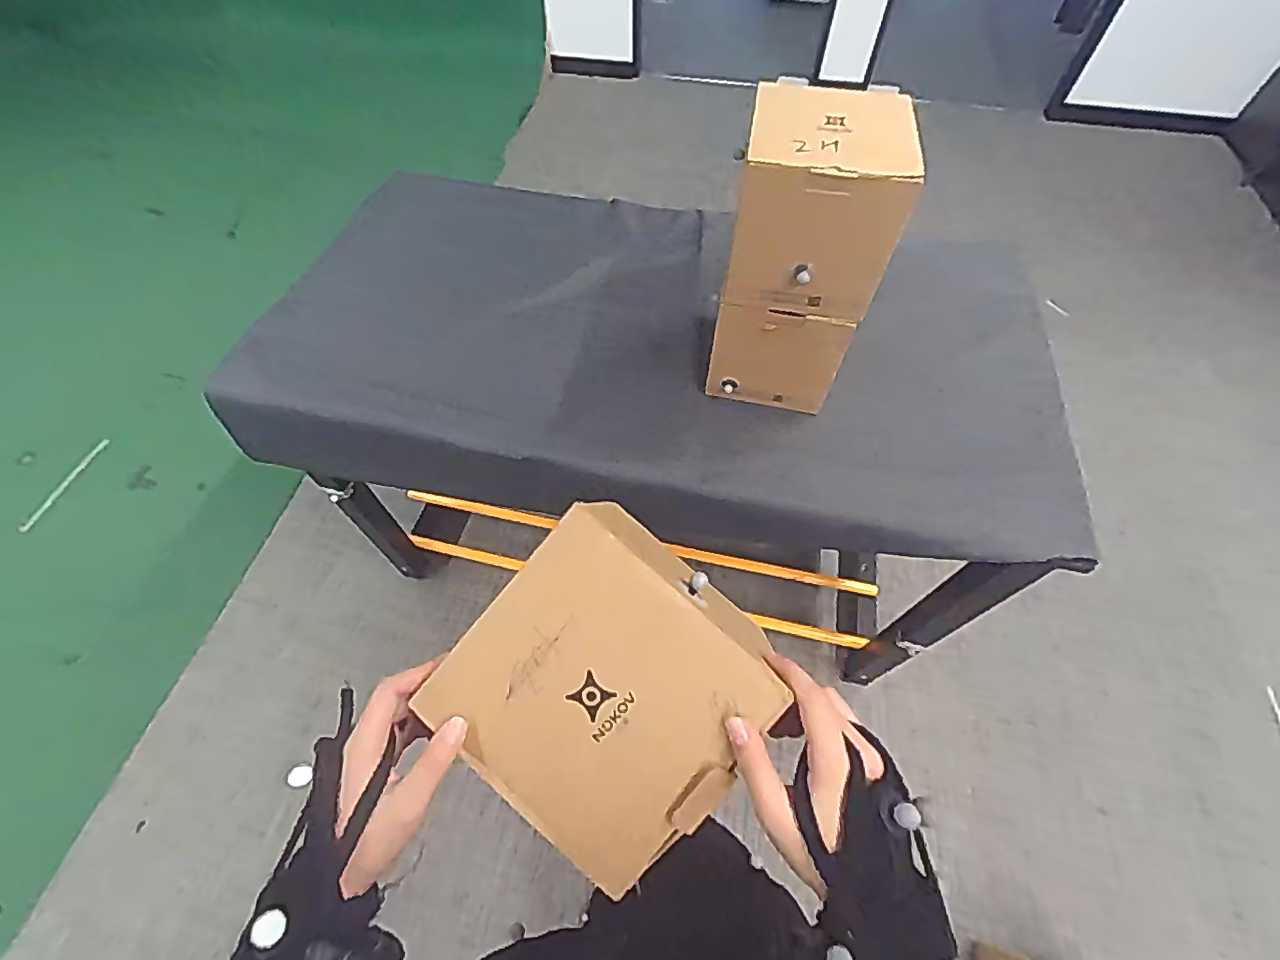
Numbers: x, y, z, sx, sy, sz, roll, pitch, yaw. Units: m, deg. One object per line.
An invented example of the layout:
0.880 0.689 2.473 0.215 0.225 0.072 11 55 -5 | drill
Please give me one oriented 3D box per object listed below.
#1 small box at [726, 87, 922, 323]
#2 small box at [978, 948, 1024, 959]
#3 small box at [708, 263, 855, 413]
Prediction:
0.196 -0.310 0.618 0.168 0.176 0.179 9 58 6 | small box
0.686 0.919 0.889 0.168 0.176 0.179 13 59 8 | small box
0.194 -0.218 0.755 0.168 0.176 0.179 12 57 7 | small box
